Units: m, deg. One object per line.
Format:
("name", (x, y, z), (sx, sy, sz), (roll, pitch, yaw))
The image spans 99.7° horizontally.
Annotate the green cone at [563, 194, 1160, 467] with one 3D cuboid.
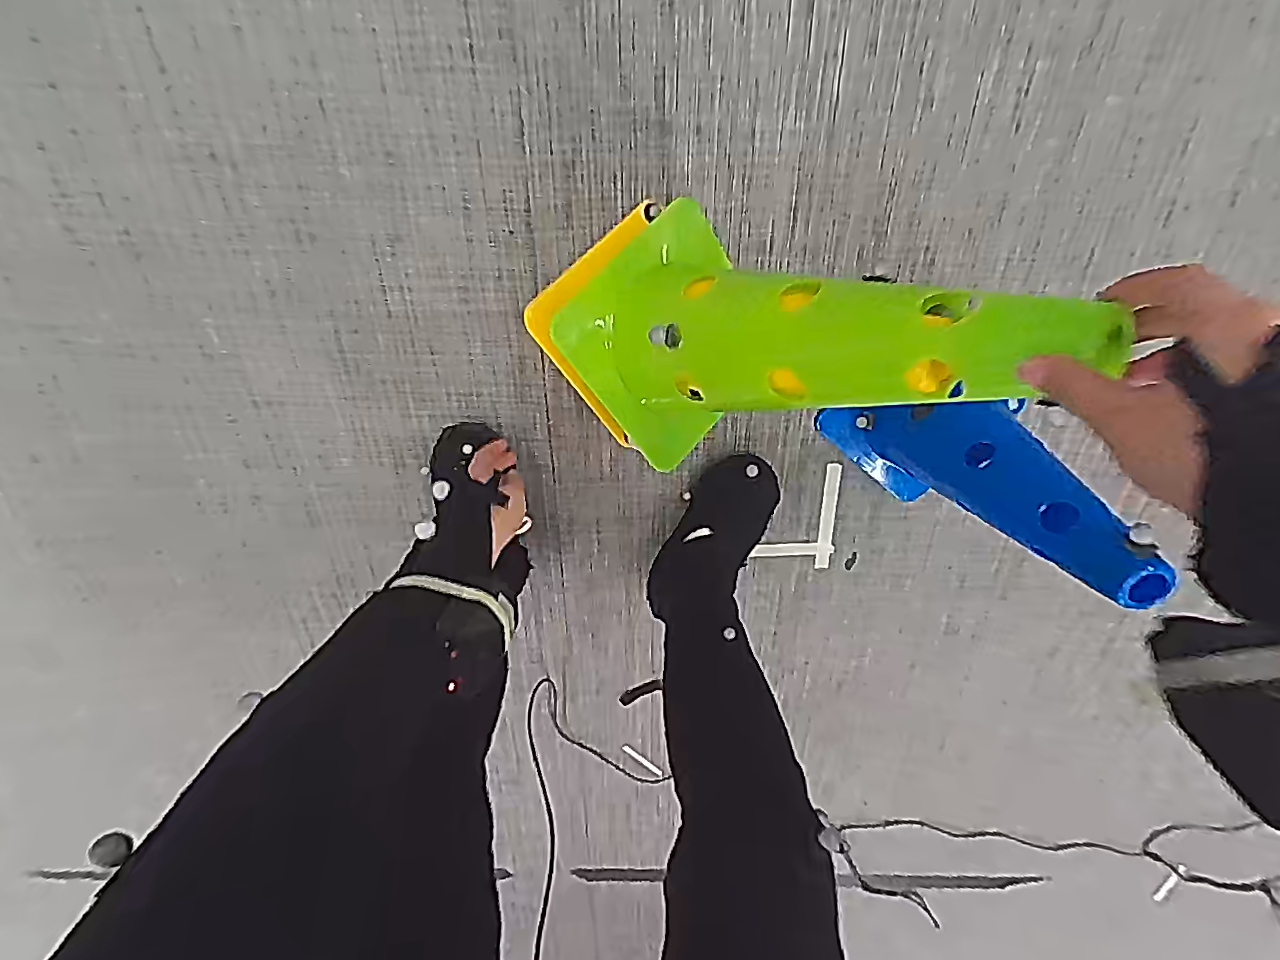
("green cone", (0.130, -0.101, 0.386), (0.202, 0.368, 0.200), (-46, 121, -12))
